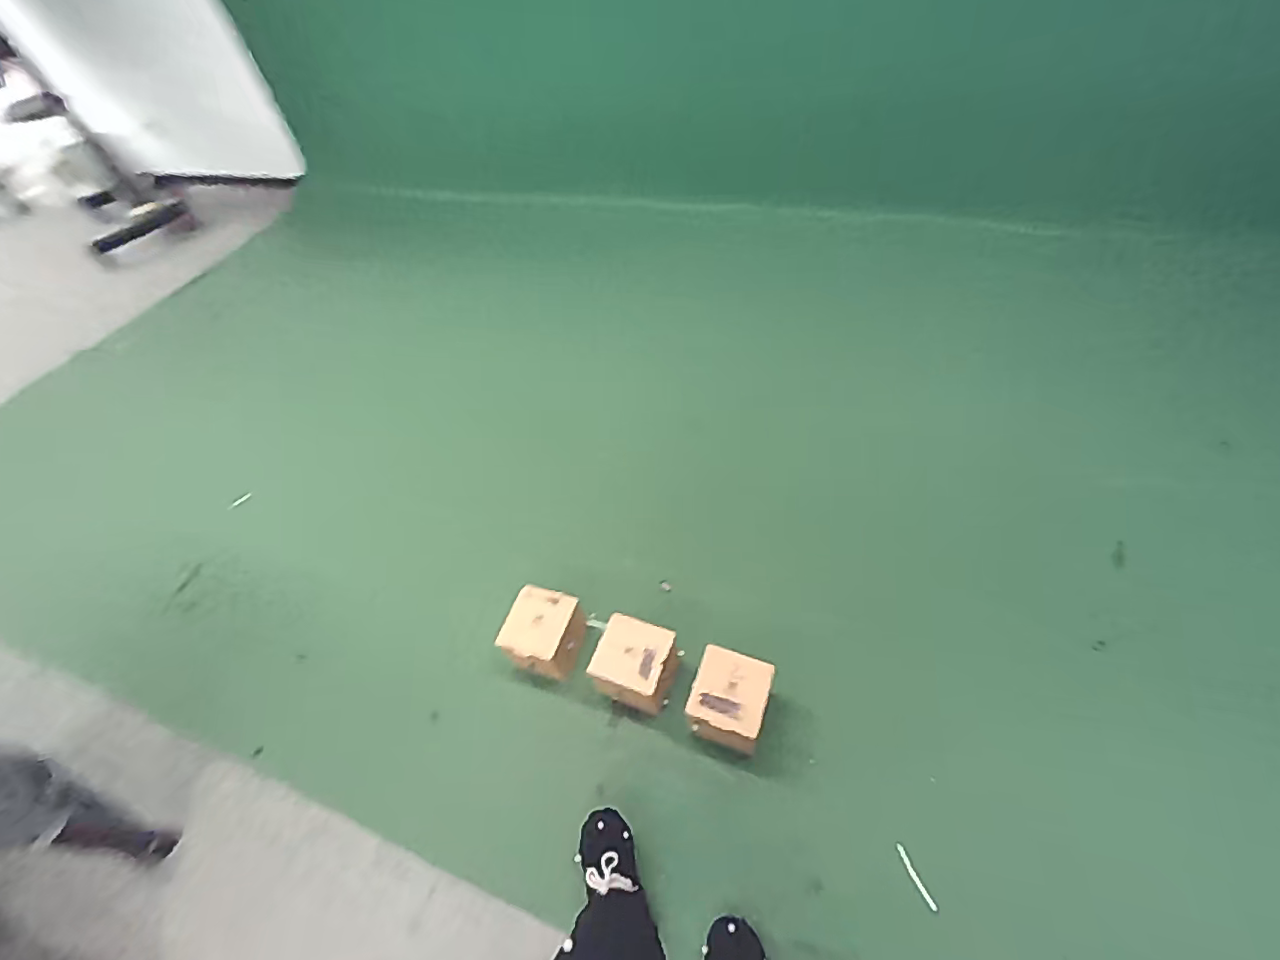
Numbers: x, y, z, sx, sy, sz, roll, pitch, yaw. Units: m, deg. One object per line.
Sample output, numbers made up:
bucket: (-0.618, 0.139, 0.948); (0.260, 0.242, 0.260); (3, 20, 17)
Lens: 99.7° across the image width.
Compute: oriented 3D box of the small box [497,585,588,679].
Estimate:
small box: (-0.255, 0.417, 1.471); (0.168, 0.176, 0.179); (12, 56, 18)
